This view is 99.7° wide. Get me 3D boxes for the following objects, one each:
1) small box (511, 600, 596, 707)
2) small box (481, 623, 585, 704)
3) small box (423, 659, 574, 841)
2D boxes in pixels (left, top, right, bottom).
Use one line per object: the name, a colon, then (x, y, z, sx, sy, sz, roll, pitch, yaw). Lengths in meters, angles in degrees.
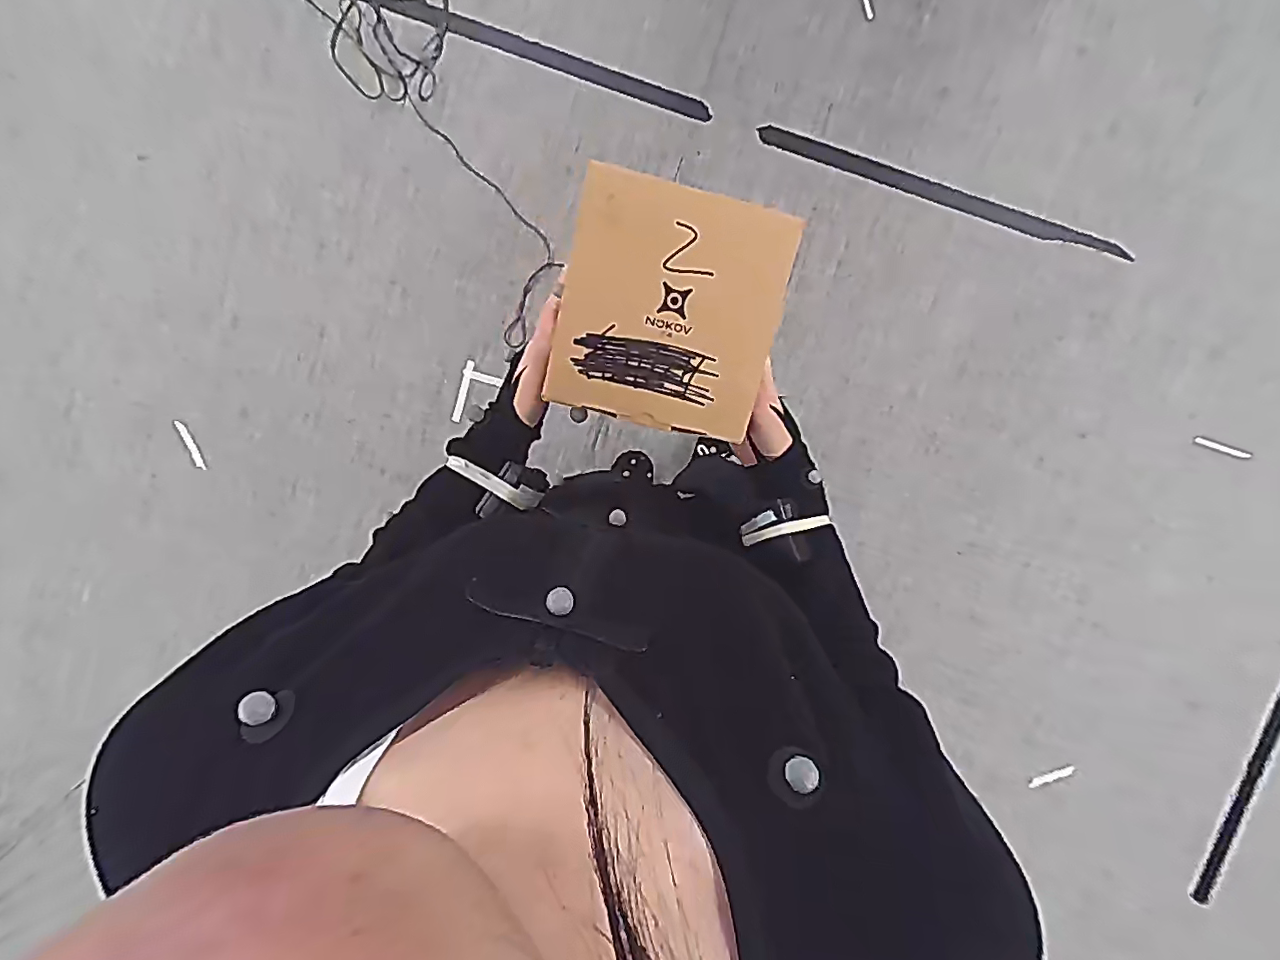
small box: (-0.197, 0.377, 1.147, 0.168, 0.176, 0.179, 16, 93, 0)
small box: (-0.202, 0.380, 0.985, 0.168, 0.176, 0.179, 14, 94, 1)
small box: (-0.202, 0.394, 0.820, 0.168, 0.176, 0.179, 10, 93, 2)
